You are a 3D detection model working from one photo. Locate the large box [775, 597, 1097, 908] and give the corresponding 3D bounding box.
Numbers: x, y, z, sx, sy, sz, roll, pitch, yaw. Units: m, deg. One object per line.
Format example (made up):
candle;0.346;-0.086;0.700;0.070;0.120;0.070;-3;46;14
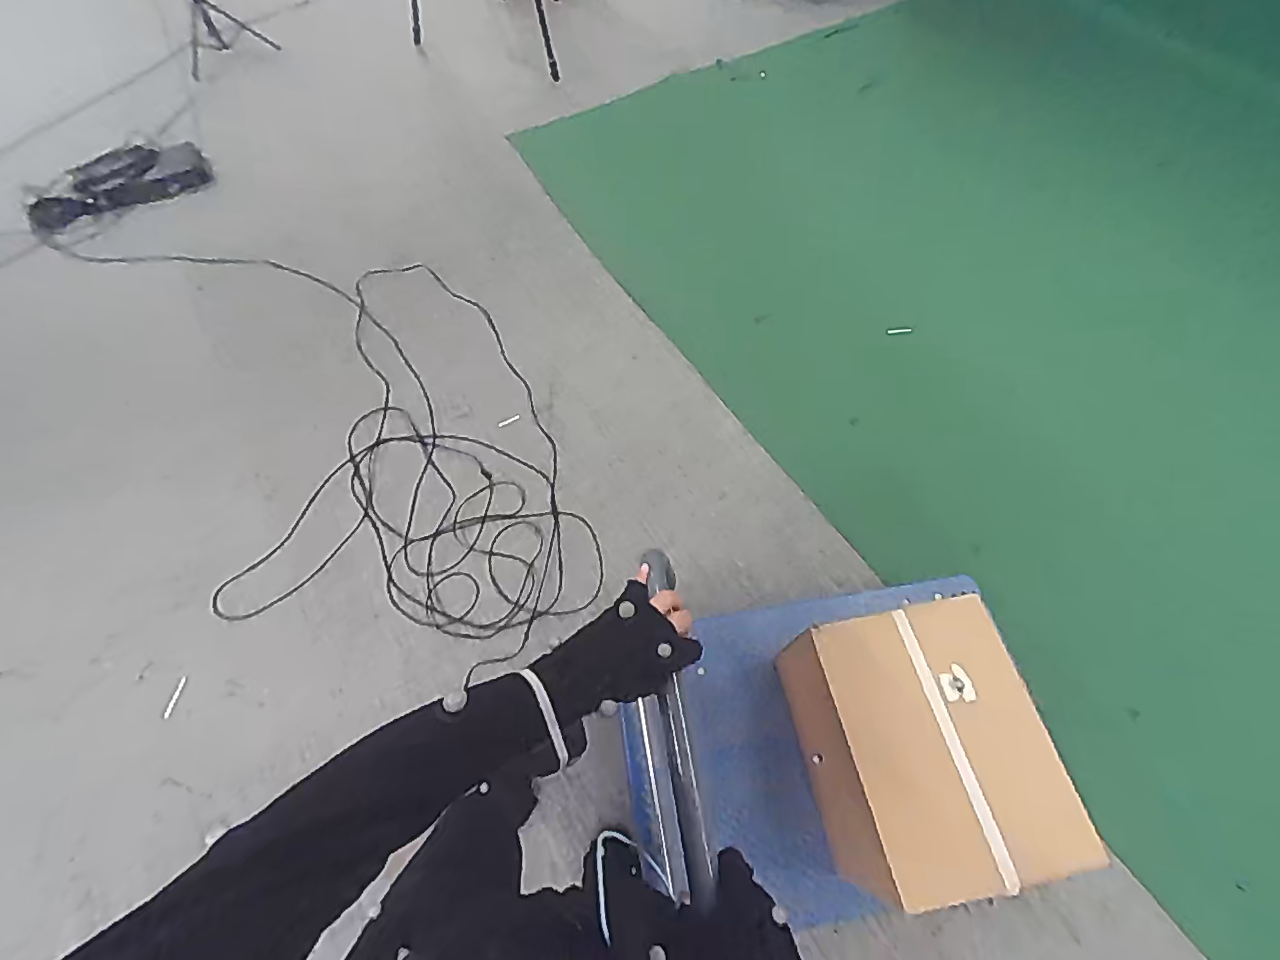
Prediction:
large box;0.479;0.477;0.991;0.320;0.320;0.408;-10;62;-5
